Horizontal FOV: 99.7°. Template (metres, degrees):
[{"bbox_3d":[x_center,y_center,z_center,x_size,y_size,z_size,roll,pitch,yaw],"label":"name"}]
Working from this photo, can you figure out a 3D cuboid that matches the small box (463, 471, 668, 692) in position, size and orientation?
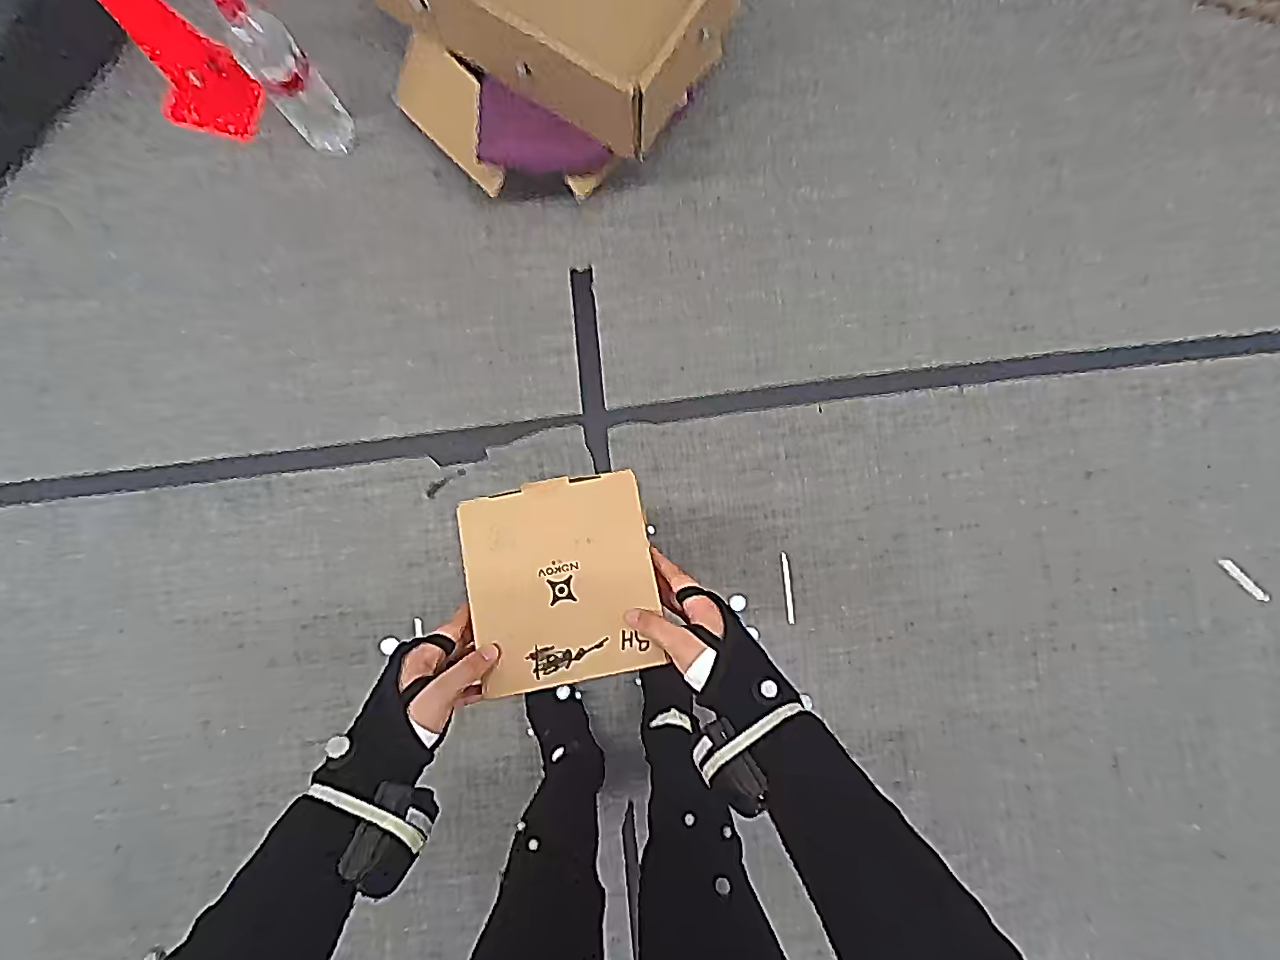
[{"bbox_3d":[-0.070,0.106,0.568,0.168,0.176,0.179,-12,78,-1],"label":"small box"}]
